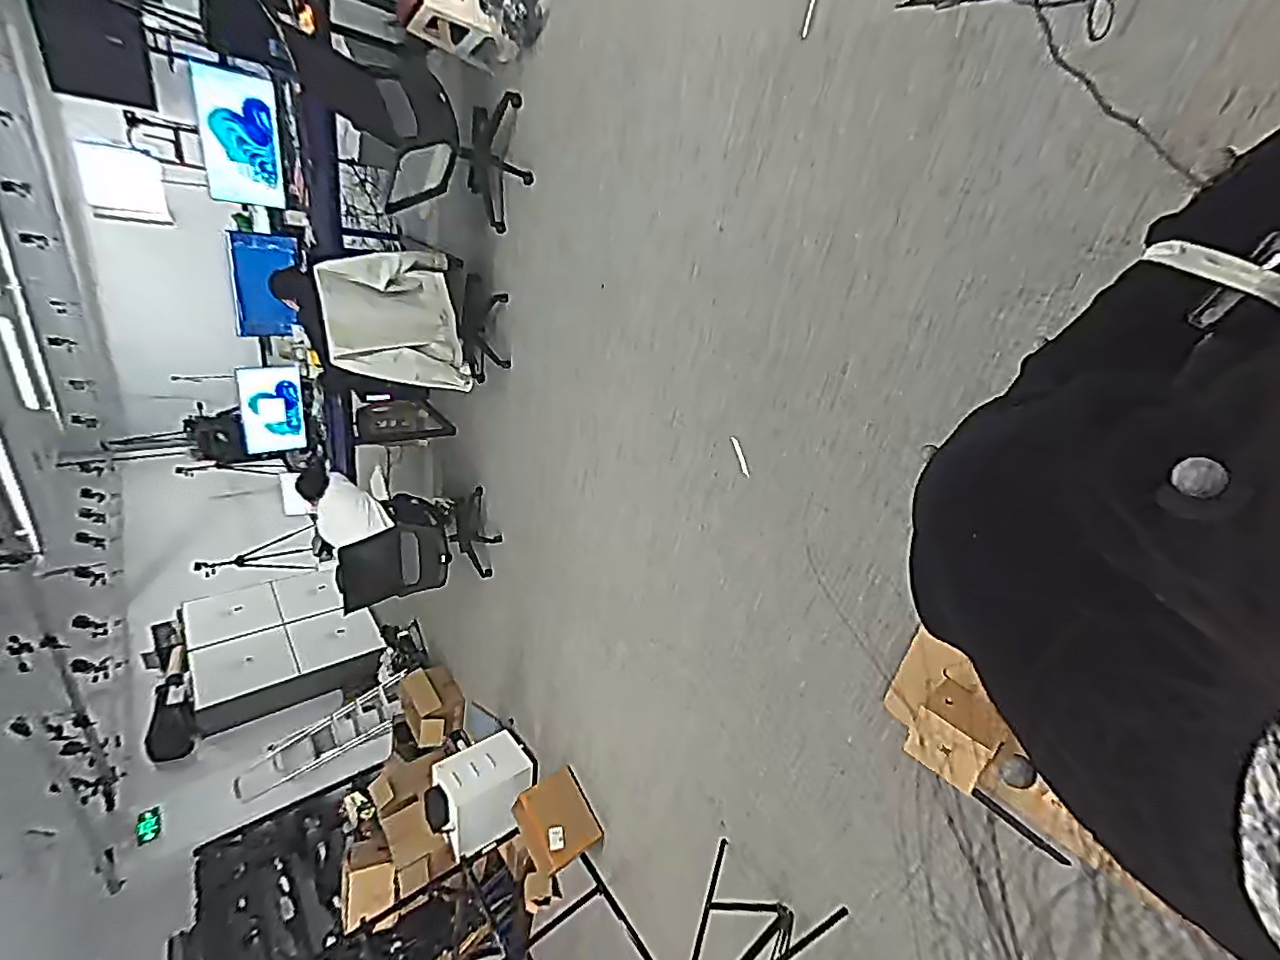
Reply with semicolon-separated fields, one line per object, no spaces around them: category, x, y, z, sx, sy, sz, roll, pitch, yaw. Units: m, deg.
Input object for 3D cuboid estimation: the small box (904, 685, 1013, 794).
small box;0.847;0.675;1.438;0.179;0.176;0.168;30;123;43
